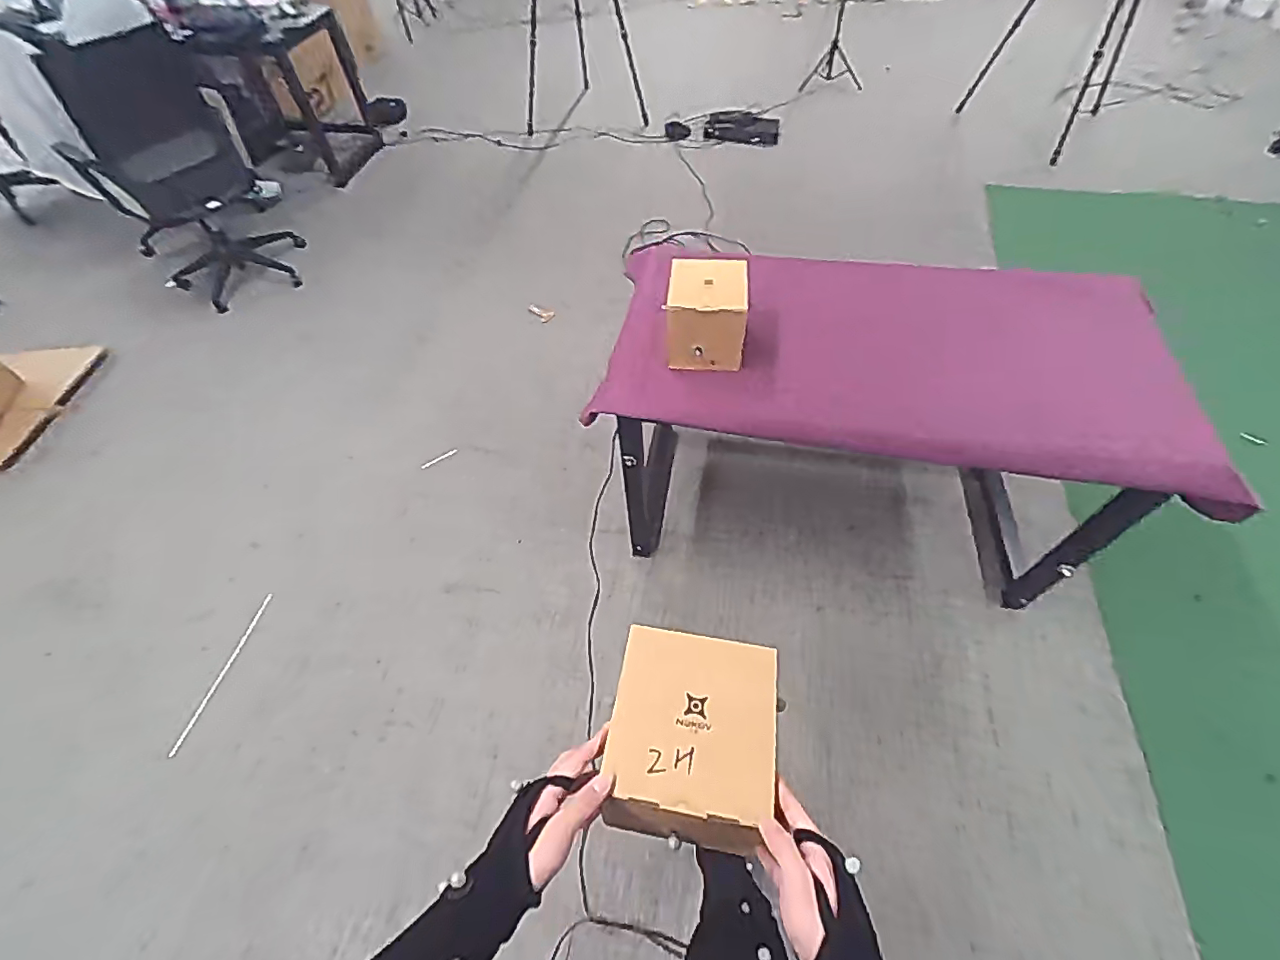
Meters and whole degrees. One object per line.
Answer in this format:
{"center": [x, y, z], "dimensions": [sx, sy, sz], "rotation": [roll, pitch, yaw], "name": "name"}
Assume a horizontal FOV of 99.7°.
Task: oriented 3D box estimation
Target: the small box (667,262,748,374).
{"center": [0.149, -0.363, 1.211], "dimensions": [0.168, 0.176, 0.179], "rotation": [4, 55, 5], "name": "small box"}

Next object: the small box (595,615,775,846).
{"center": [0.051, 0.281, 0.607], "dimensions": [0.168, 0.176, 0.179], "rotation": [8, 49, 7], "name": "small box"}
